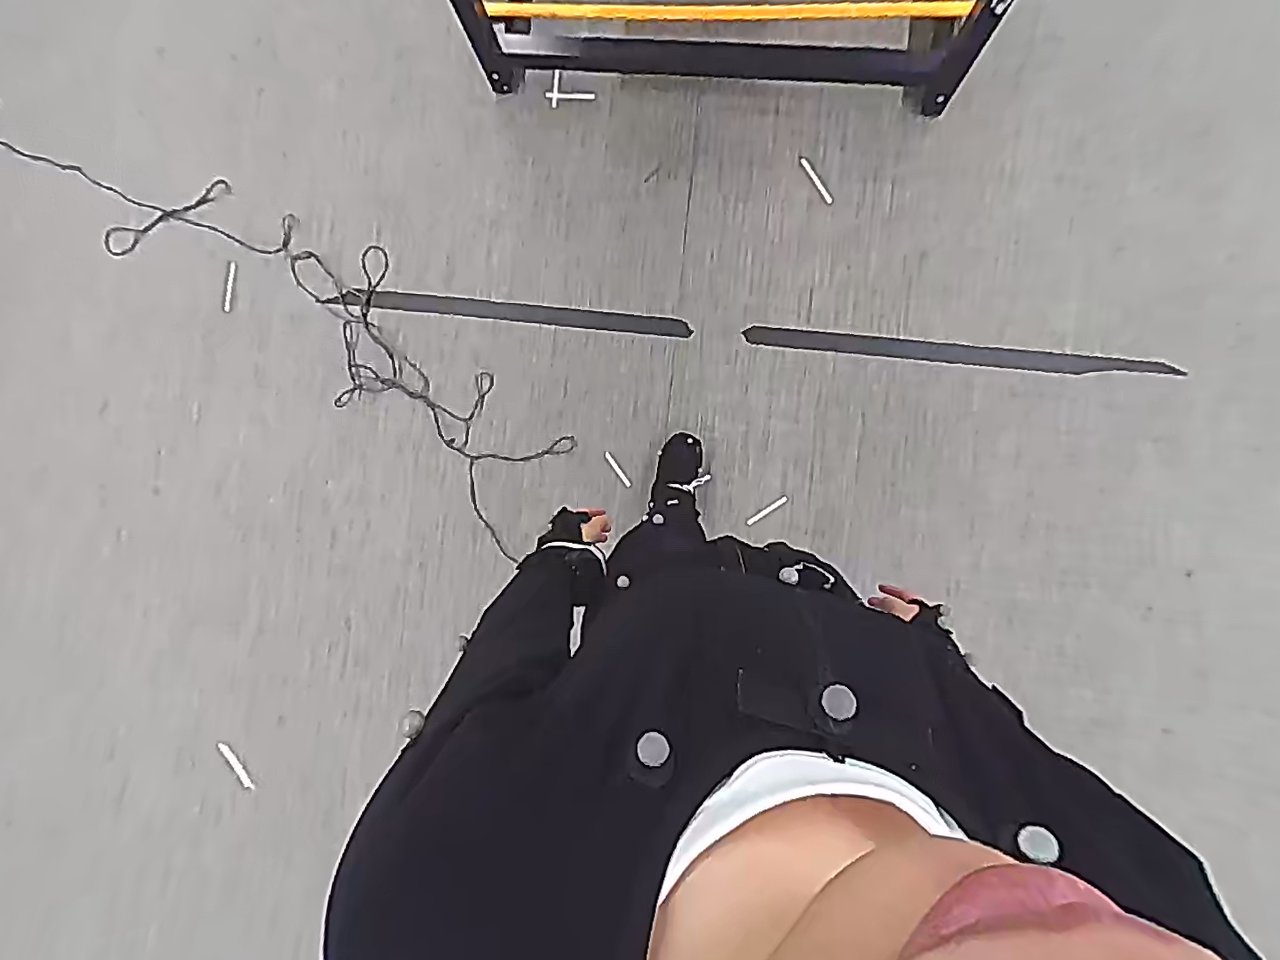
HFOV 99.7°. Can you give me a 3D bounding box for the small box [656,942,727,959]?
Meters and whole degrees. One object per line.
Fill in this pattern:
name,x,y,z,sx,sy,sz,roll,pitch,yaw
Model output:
small box,0.118,1.244,1.265,0.179,0.176,0.168,6,88,5
